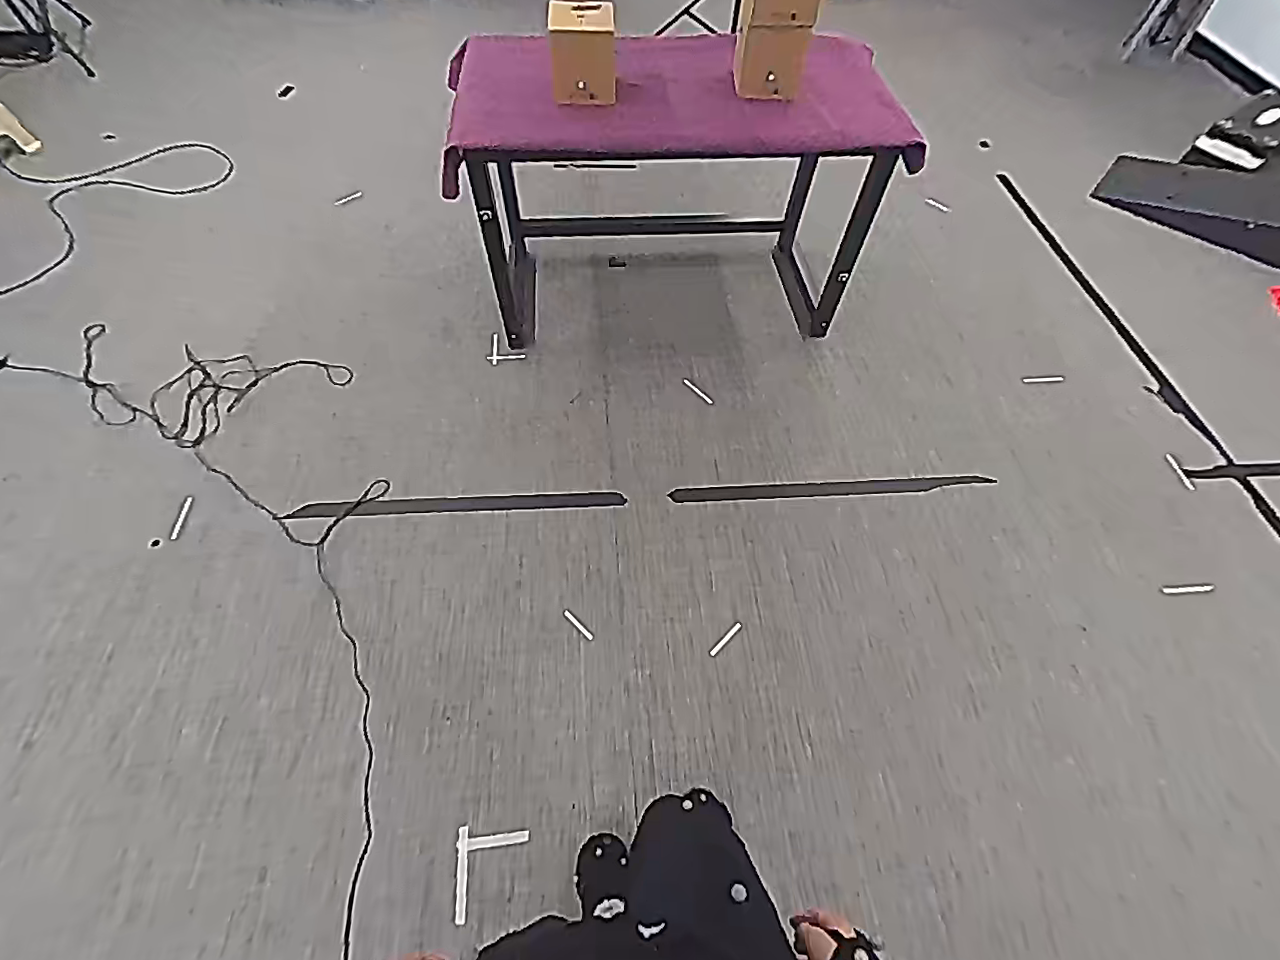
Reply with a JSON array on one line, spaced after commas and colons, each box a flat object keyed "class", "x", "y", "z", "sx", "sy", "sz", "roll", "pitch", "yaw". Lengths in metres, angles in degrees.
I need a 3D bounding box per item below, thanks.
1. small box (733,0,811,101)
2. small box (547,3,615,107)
[{"class": "small box", "x": 0.351, "y": -1.169, "z": 1.472, "sx": 0.168, "sy": 0.176, "sz": 0.179, "roll": 1, "pitch": 58, "yaw": 0}, {"class": "small box", "x": -0.152, "y": -1.119, "z": 1.427, "sx": 0.168, "sy": 0.176, "sz": 0.179, "roll": -2, "pitch": 59, "yaw": -3}]
